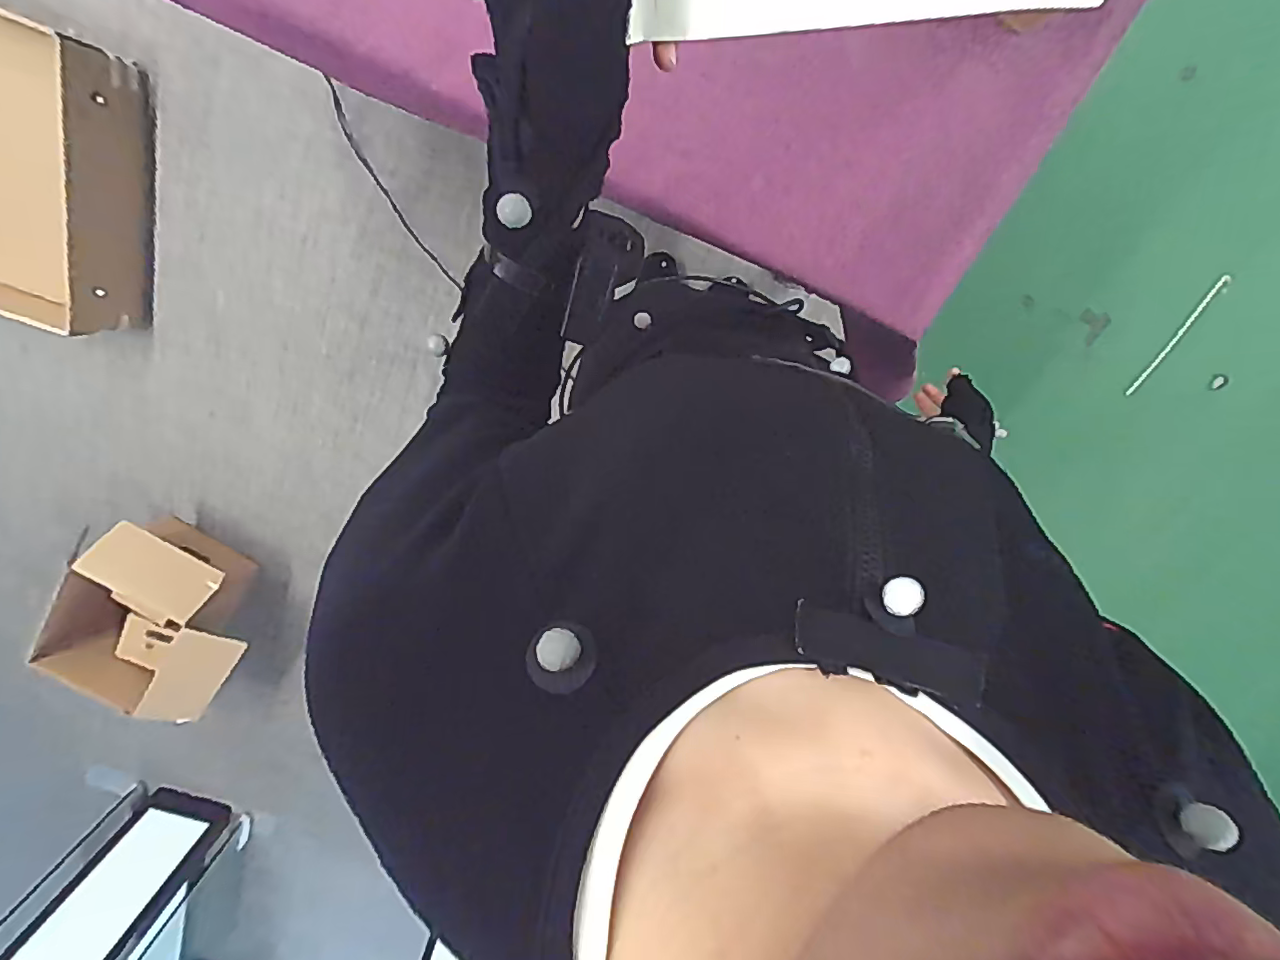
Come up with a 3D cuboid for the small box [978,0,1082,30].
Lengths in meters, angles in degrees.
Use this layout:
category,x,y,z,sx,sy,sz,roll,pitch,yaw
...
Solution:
category,x,y,z,sx,sy,sz,roll,pitch,yaw
small box,0.355,-0.517,0.421,0.168,0.176,0.179,29,111,-9
